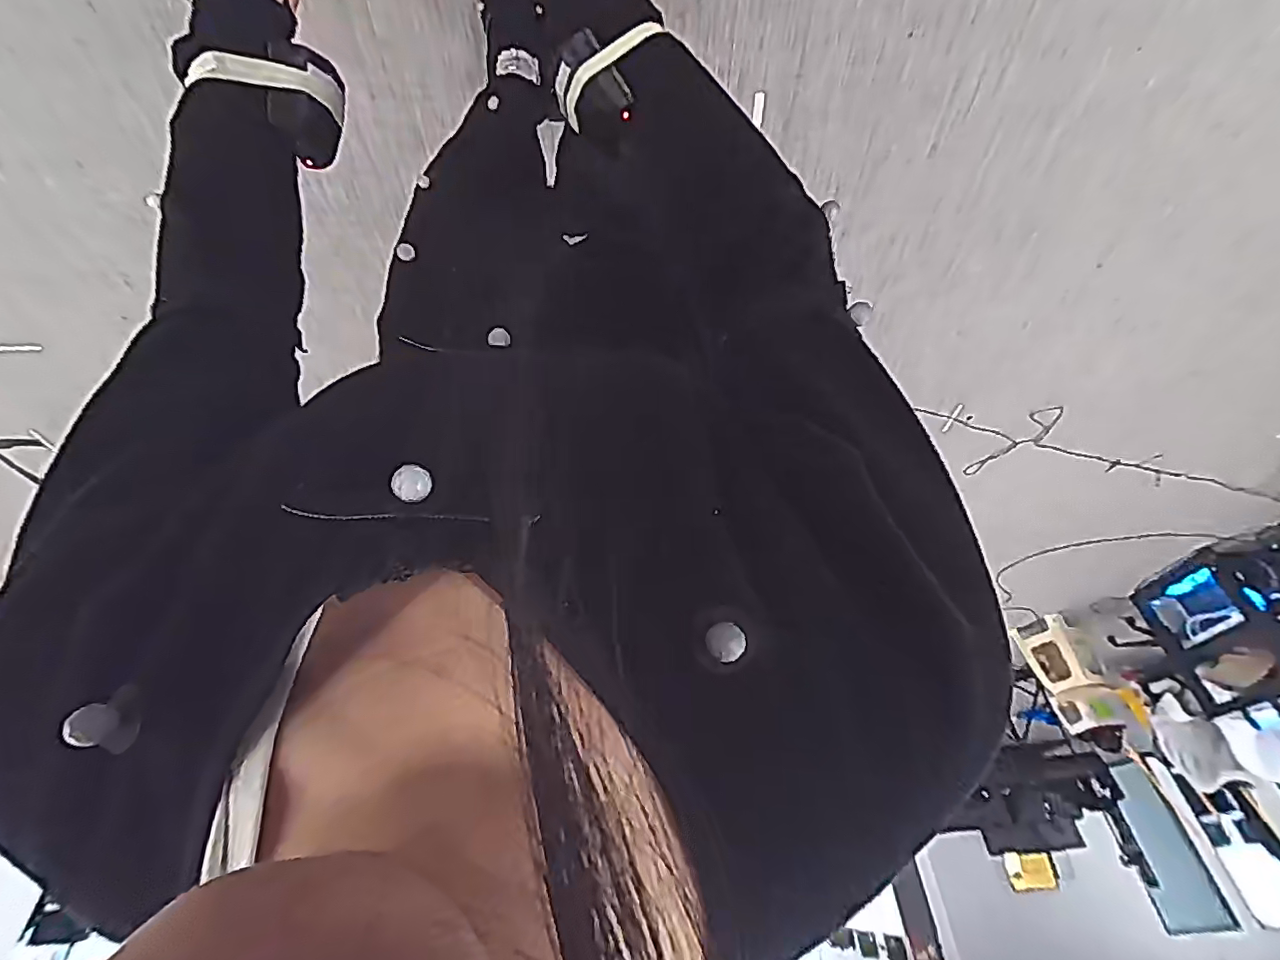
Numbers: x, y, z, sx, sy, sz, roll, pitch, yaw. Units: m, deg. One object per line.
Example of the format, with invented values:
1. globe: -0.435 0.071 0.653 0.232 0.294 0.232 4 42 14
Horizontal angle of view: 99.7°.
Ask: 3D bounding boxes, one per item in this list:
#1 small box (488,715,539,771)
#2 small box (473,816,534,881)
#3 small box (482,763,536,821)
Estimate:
1. small box: -0.472 0.994 2.039 0.168 0.176 0.179 0 142 -5
2. small box: -0.455 1.240 1.824 0.168 0.176 0.179 -2 143 -2
3. small box: -0.464 1.126 1.941 0.168 0.176 0.179 -1 141 -5
